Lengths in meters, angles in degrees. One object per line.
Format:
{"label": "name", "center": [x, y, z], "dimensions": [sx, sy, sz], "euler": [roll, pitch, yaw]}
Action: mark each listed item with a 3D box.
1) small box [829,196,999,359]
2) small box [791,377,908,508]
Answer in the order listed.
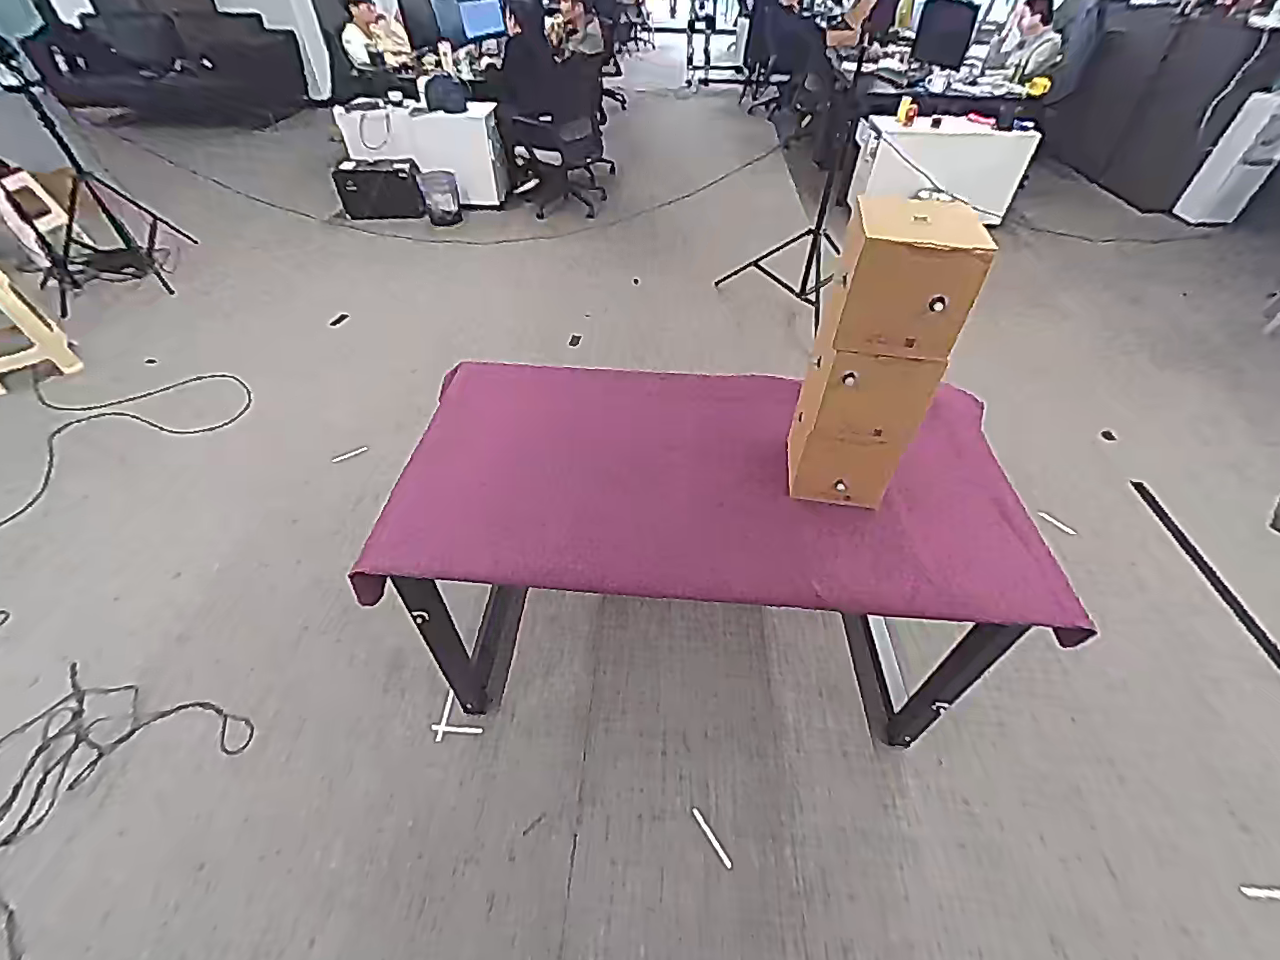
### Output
{"label": "small box", "center": [0.385, -0.298, 0.799], "dimensions": [0.168, 0.176, 0.179], "euler": [9, 45, 7]}
{"label": "small box", "center": [0.387, -0.073, 1.036], "dimensions": [0.168, 0.176, 0.179], "euler": [7, 46, 7]}
